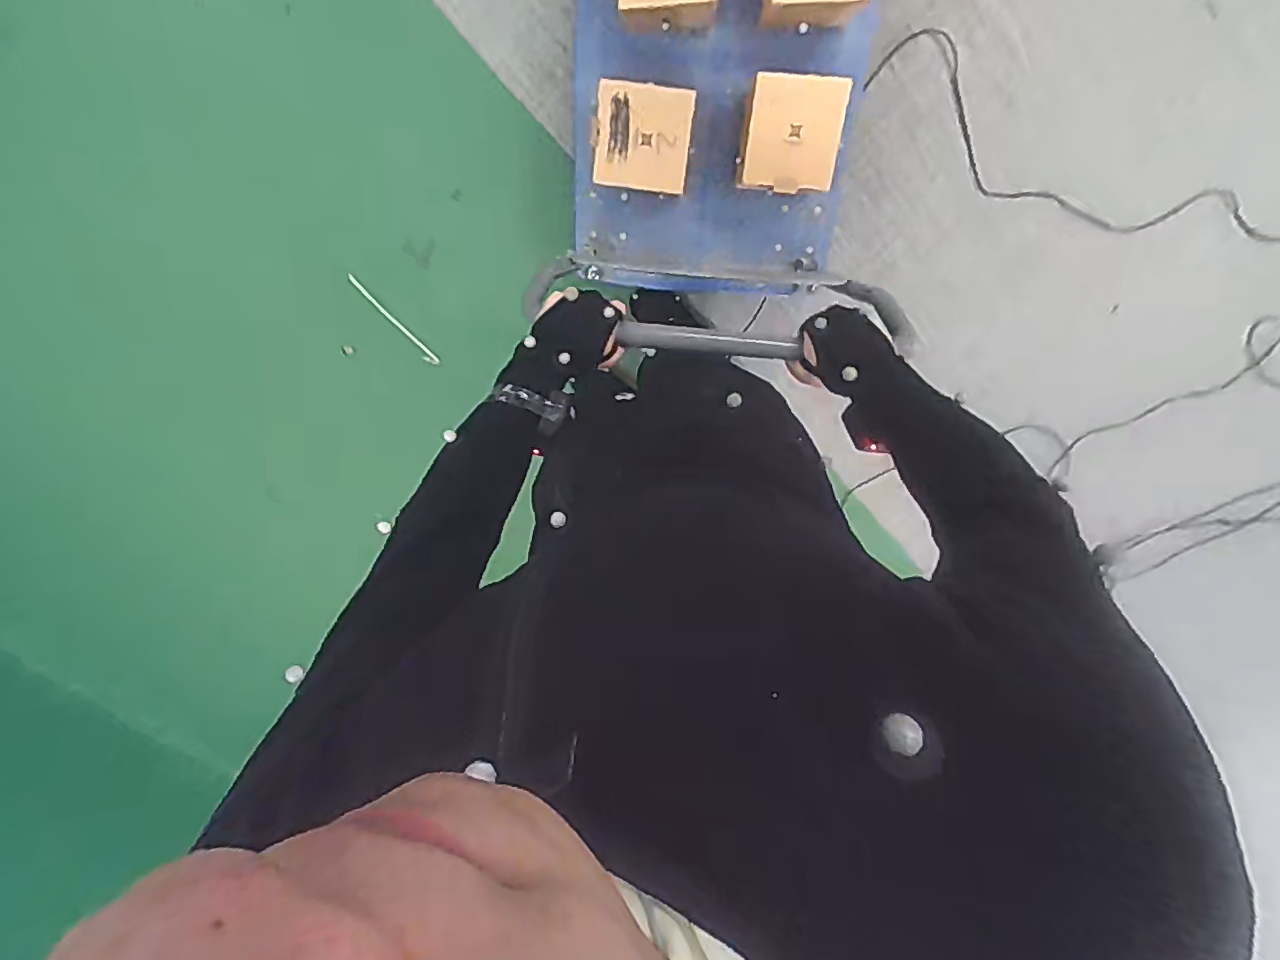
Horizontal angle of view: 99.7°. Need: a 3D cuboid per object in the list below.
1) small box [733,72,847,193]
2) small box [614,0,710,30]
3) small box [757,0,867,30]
[{"bbox_3d":[0.277,-0.662,1.046,0.168,0.176,0.179,5,119,1],"label":"small box"},{"bbox_3d":[0.039,-0.903,0.930,0.168,0.176,0.179,-1,118,4],"label":"small box"},{"bbox_3d":[0.295,-0.896,0.916,0.168,0.176,0.179,2,119,4],"label":"small box"}]
